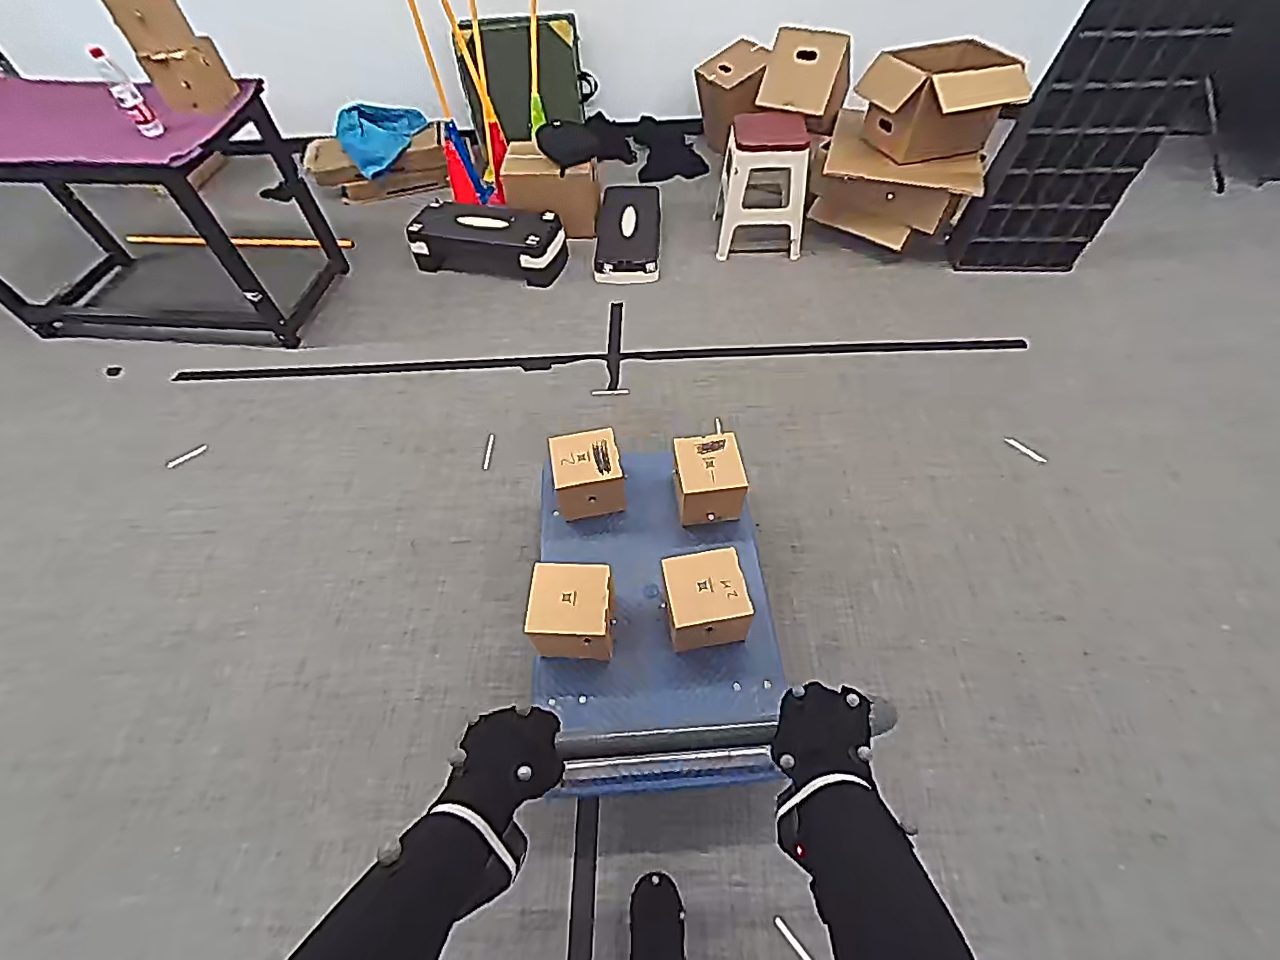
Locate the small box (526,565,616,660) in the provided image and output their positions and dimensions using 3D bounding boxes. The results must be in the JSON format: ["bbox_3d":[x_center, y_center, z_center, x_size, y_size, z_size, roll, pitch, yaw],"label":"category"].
[{"bbox_3d":[-0.152,0.312,1.261,0.179,0.176,0.168,2,55,2],"label":"small box"}]

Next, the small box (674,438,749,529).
[{"bbox_3d":[0.185,0.010,1.454,0.168,0.176,0.179,-6,57,-2],"label":"small box"}]

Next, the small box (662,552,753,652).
[{"bbox_3d":[0.151,0.290,1.264,0.179,0.176,0.168,-8,56,-3],"label":"small box"}]
